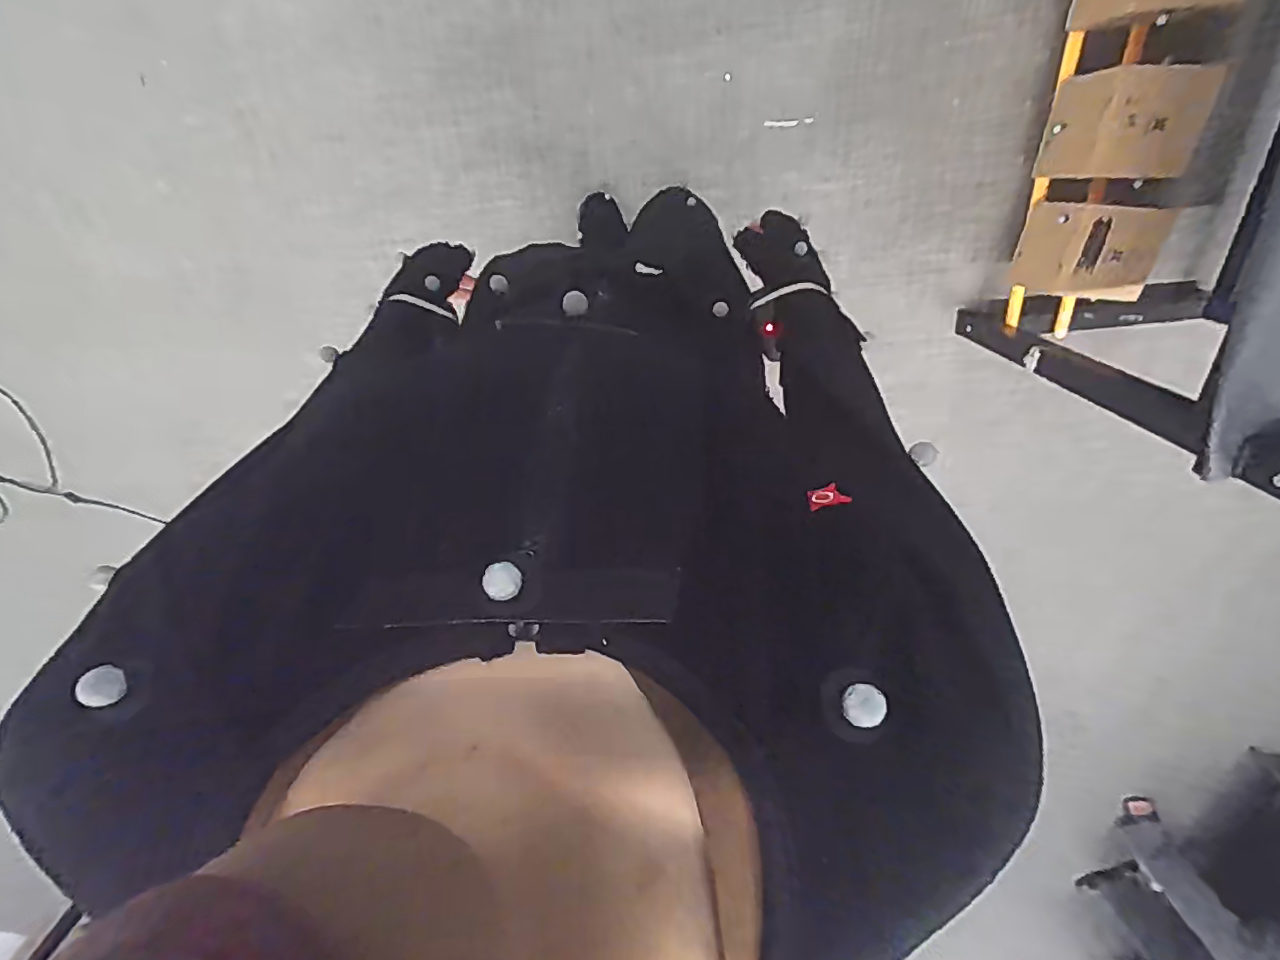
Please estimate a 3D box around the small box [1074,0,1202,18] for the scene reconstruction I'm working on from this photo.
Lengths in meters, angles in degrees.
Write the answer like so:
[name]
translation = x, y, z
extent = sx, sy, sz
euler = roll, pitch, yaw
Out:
[small box]
translation = 0.867, -0.875, 0.873
extent = 0.179, 0.176, 0.168
euler = -2, 121, 5
